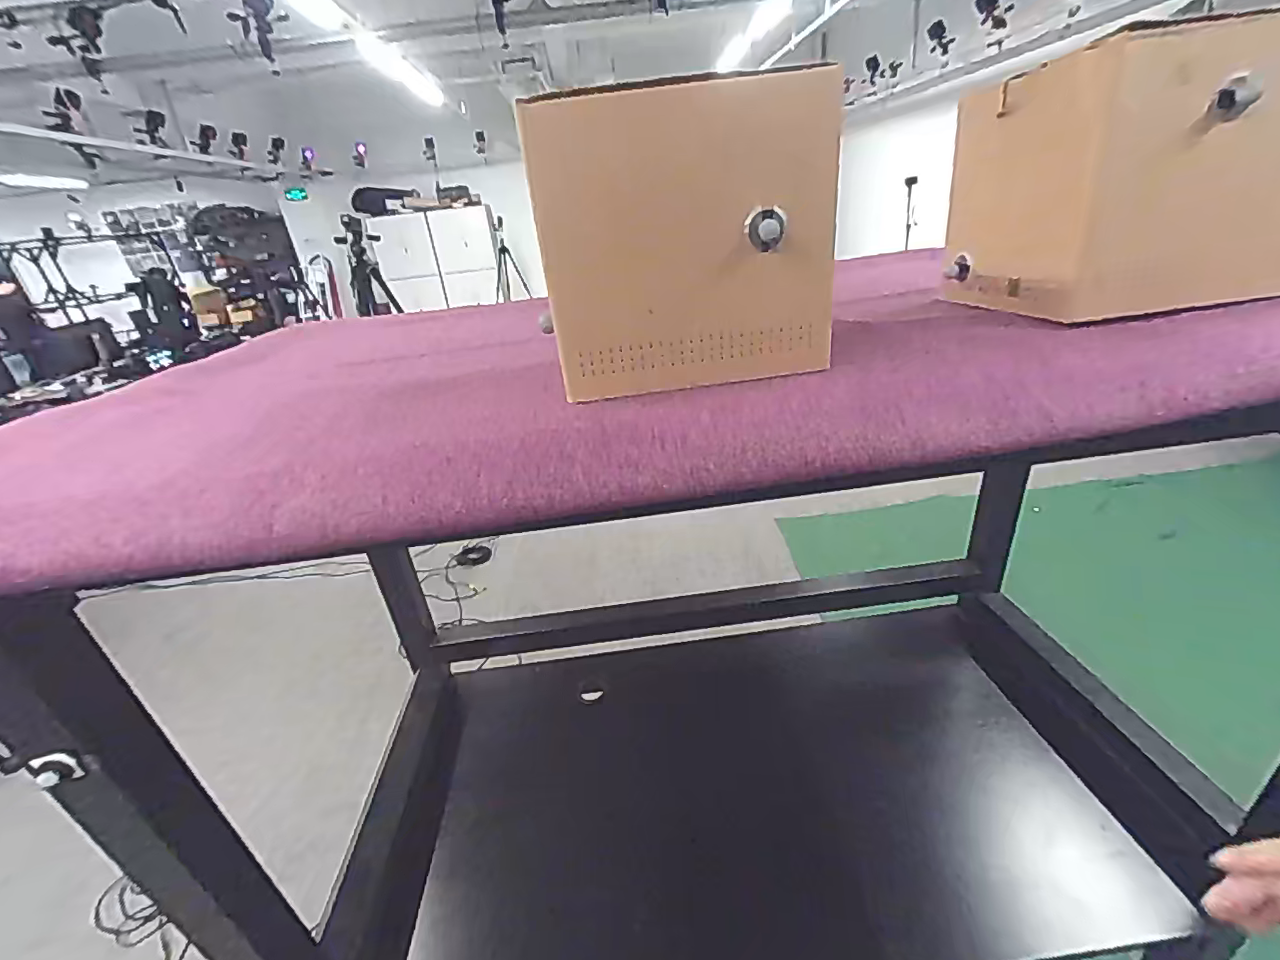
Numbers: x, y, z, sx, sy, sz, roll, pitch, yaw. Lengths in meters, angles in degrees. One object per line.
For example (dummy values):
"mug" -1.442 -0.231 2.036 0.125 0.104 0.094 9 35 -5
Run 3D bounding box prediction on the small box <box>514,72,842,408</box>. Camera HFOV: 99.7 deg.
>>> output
"small box" 0.022 -0.163 0.386 0.179 0.176 0.168 -9 26 -2

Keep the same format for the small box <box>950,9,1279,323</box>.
"small box" 0.365 -0.221 0.414 0.179 0.176 0.168 -7 25 0
